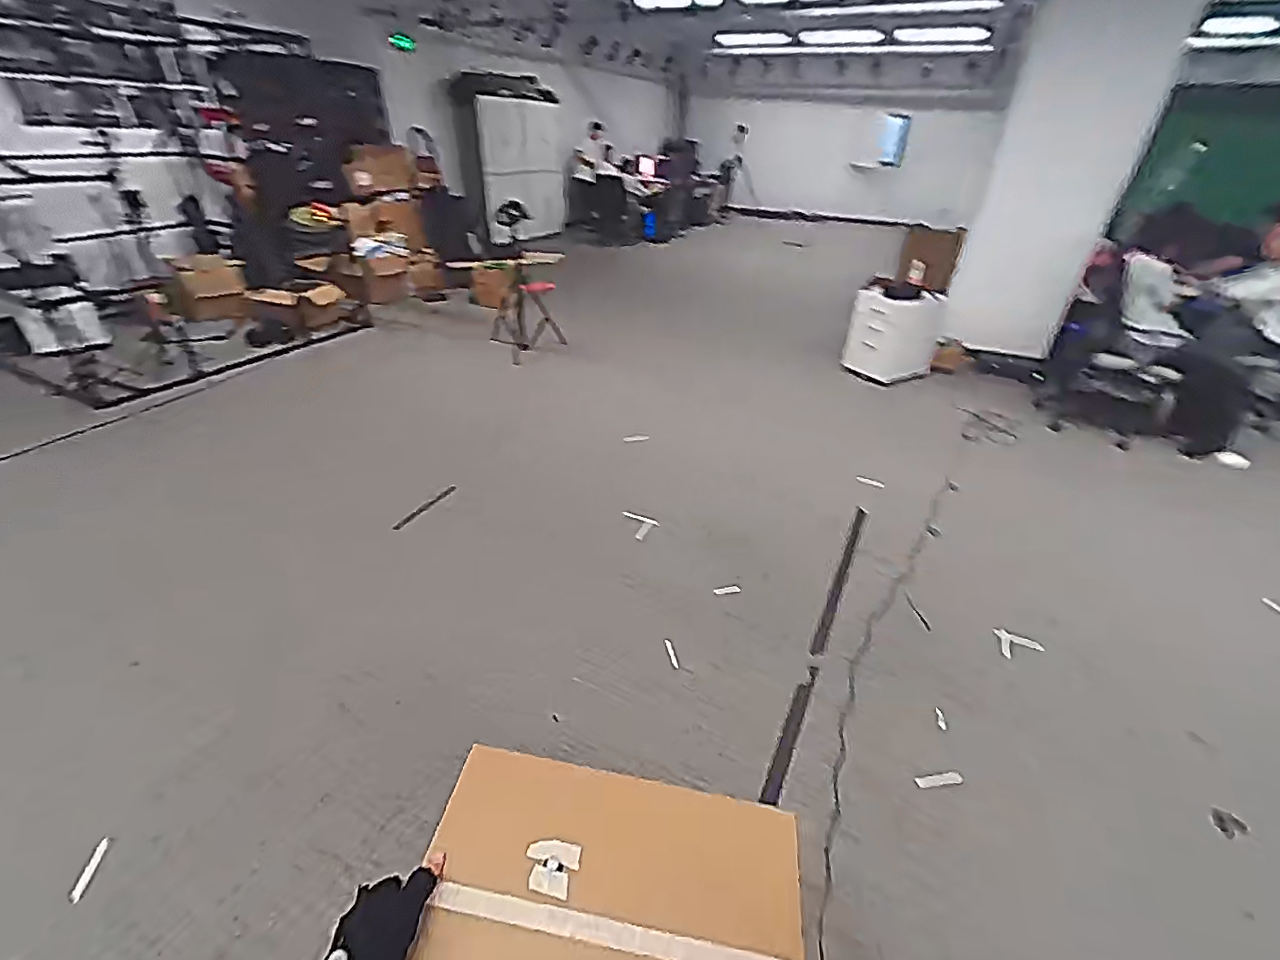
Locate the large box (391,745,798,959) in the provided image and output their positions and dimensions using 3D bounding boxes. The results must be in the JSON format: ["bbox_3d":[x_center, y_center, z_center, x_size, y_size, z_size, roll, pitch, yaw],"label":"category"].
[{"bbox_3d":[-0.044,0.574,0.647,0.408,0.320,0.320,9,38,6],"label":"large box"}]
